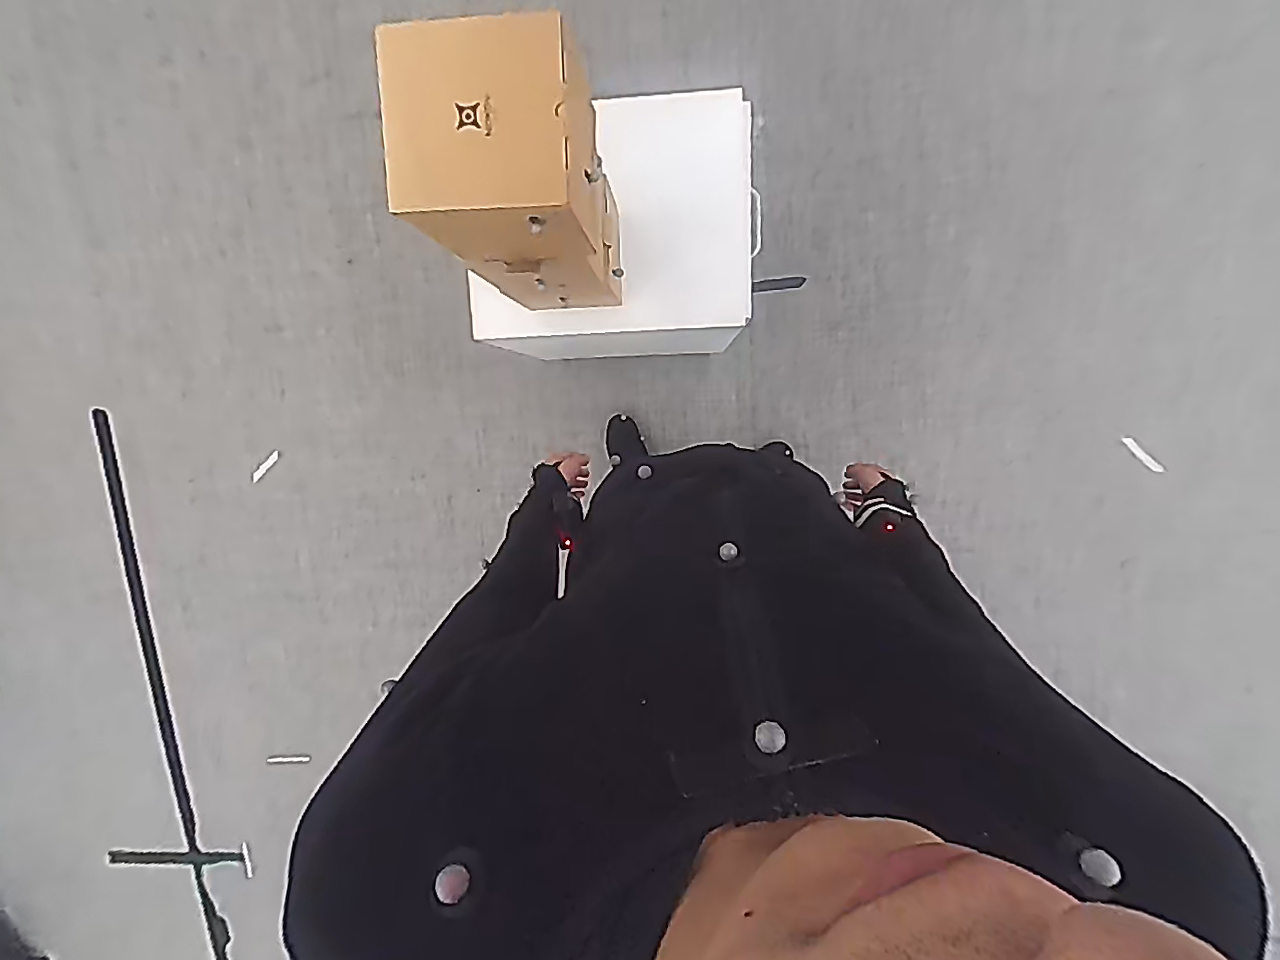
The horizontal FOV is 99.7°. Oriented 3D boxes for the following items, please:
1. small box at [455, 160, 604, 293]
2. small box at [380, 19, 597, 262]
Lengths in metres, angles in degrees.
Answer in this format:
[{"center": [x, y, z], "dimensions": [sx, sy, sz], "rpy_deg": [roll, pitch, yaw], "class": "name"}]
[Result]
[{"center": [-0.143, -0.363, 0.738], "dimensions": [0.168, 0.176, 0.179], "rpy_deg": [1, 98, 5], "class": "small box"}, {"center": [-0.146, -0.339, 0.577], "dimensions": [0.179, 0.176, 0.168], "rpy_deg": [-1, 97, 4], "class": "small box"}]
